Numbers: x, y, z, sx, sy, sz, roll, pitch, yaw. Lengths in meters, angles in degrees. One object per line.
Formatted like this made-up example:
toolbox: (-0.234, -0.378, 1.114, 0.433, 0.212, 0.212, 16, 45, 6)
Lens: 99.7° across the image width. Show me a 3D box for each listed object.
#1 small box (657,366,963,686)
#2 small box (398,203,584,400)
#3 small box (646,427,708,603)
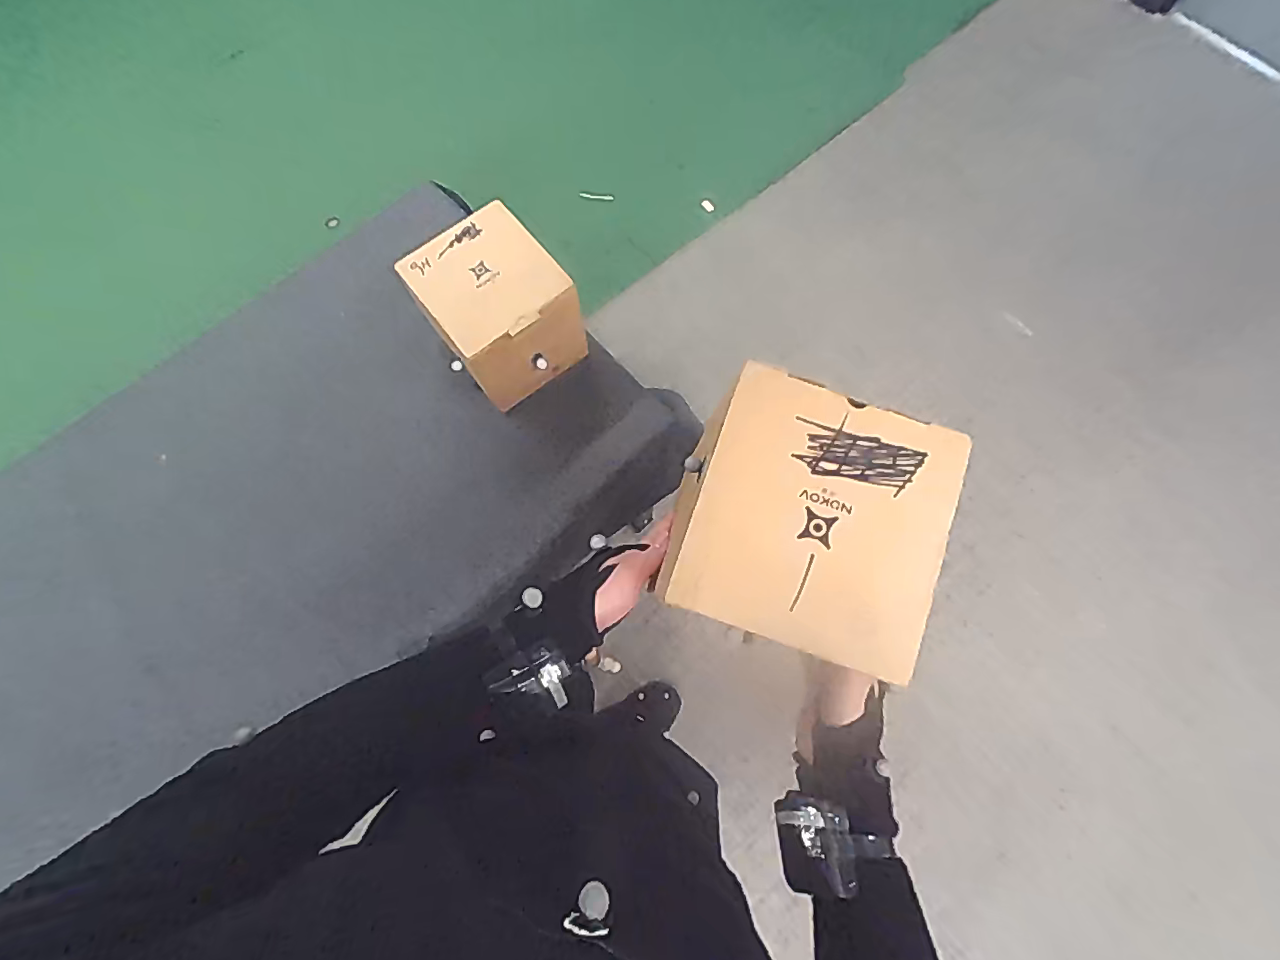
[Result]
small box: (0.118, 0.038, 0.443, 0.168, 0.176, 0.179, 20, 82, 1)
small box: (-0.194, -0.235, 0.762, 0.168, 0.176, 0.179, -37, 79, -9)
small box: (0.109, 0.066, 0.606, 0.168, 0.176, 0.179, 19, 80, 0)
